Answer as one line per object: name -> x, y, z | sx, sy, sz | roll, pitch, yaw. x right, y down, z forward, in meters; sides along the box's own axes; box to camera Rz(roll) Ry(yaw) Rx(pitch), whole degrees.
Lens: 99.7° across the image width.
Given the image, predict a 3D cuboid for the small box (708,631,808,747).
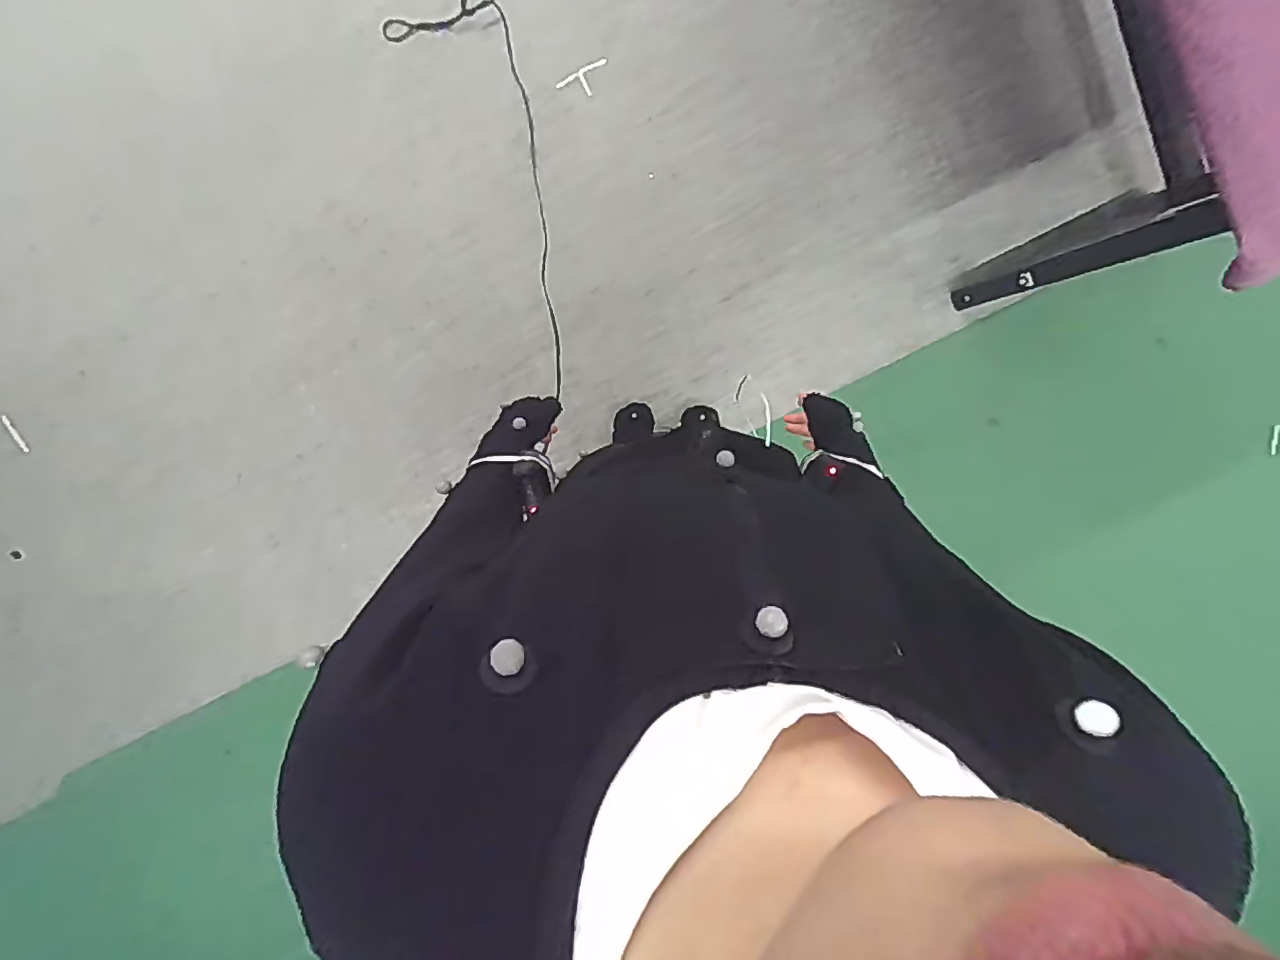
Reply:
small box -> 0.272, 0.493, 1.298 | 0.179, 0.176, 0.168 | -24, 100, 3
